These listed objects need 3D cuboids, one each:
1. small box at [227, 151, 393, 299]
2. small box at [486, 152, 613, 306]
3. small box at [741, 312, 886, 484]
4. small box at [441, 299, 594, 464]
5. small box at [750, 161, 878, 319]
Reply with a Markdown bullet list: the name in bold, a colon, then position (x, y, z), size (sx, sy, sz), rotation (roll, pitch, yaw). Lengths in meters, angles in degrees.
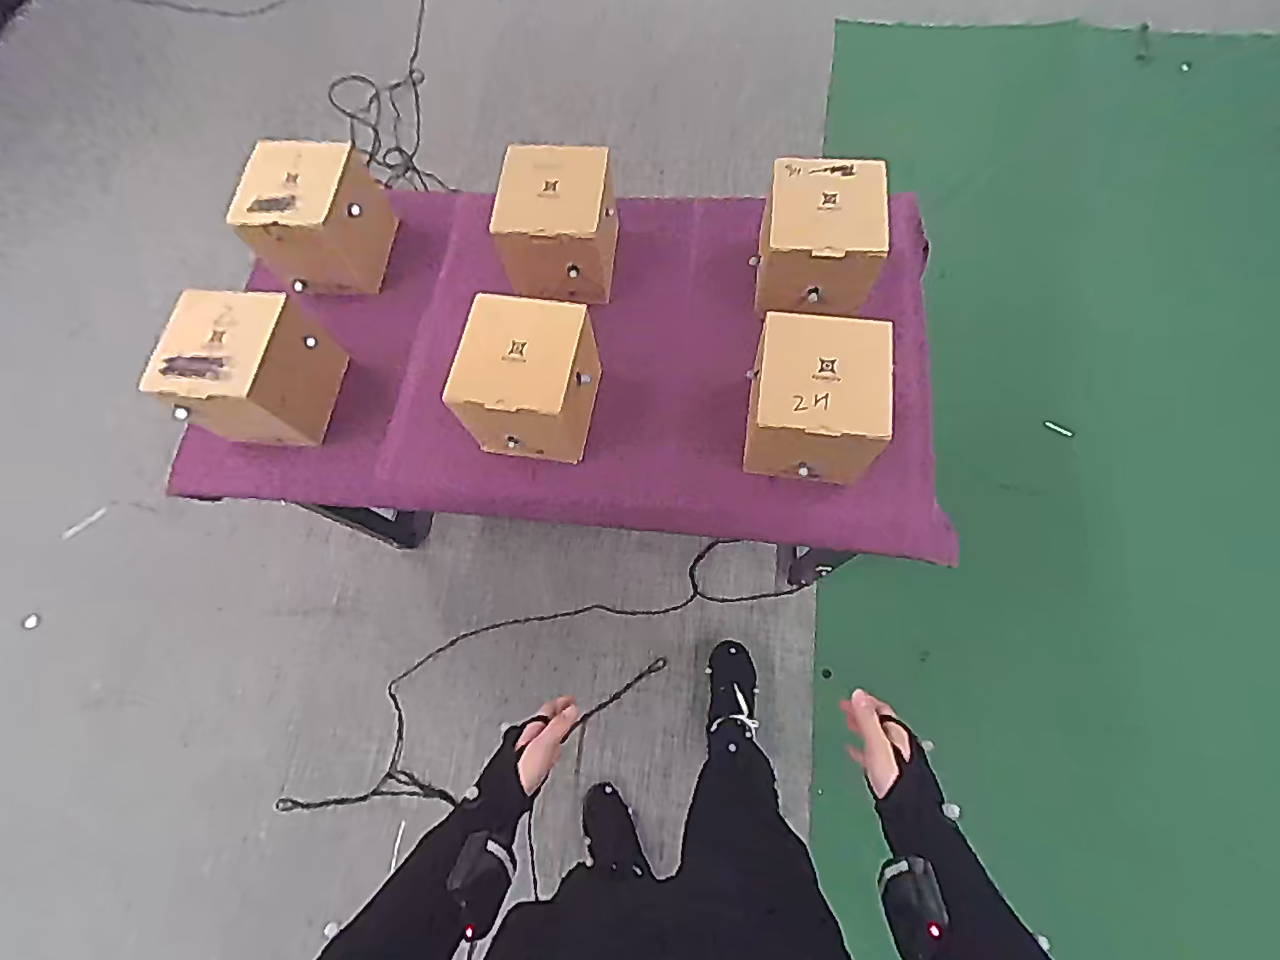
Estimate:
- **small box**: position (-0.562, -0.439, 0.949), size (0.168, 0.176, 0.179), rotation (3, 71, 5)
- **small box**: position (-0.141, -0.416, 0.913), size (0.168, 0.176, 0.179), rotation (4, 71, 5)
- **small box**: position (0.239, -0.111, 0.772), size (0.168, 0.176, 0.179), rotation (7, 71, 8)
- **small box**: position (-0.170, -0.143, 0.818), size (0.168, 0.176, 0.179), rotation (8, 71, 6)
- **small box**: position (0.271, -0.373, 0.866), size (0.168, 0.176, 0.179), rotation (5, 72, 6)
